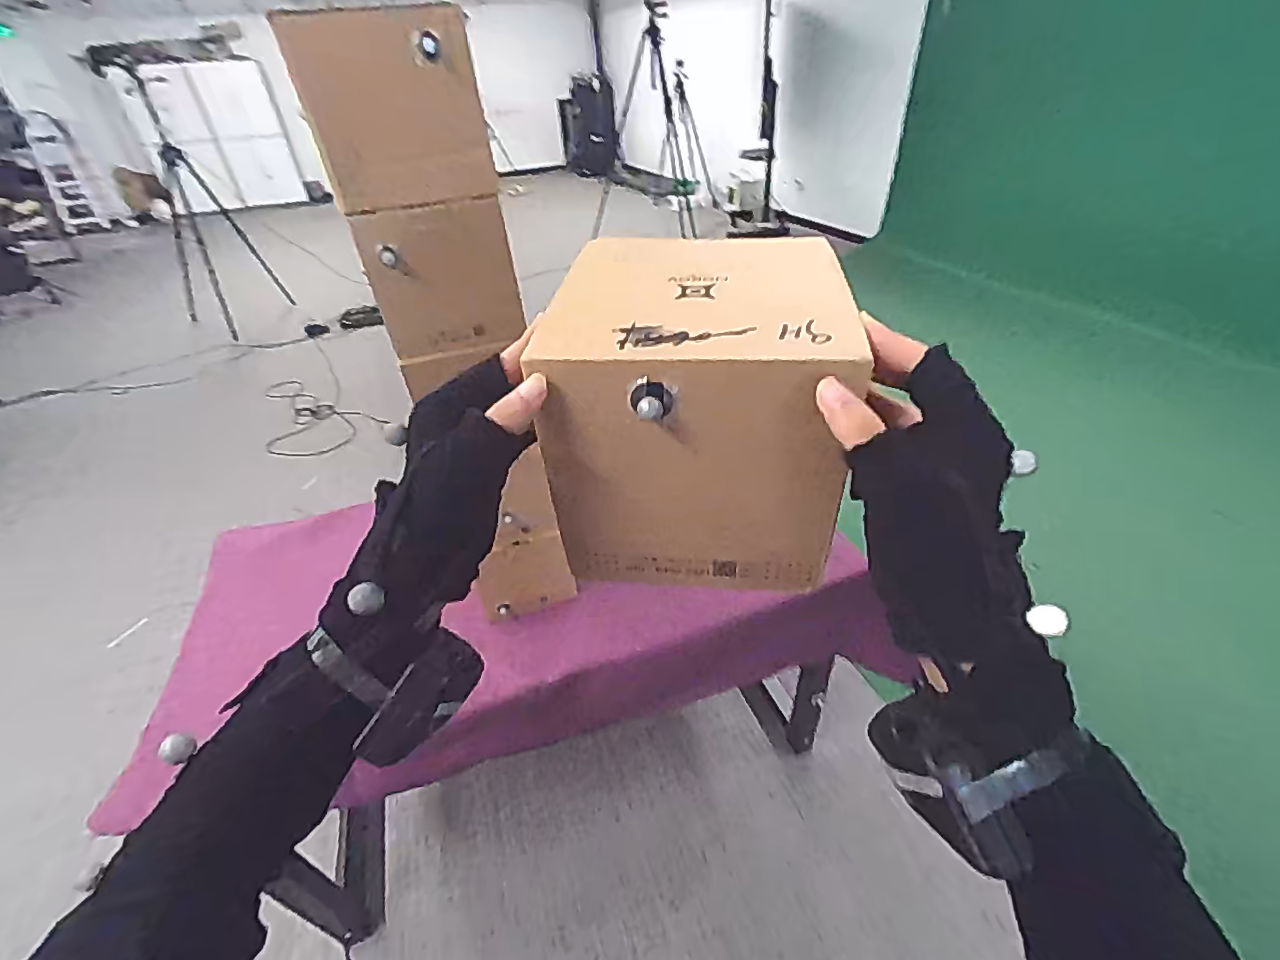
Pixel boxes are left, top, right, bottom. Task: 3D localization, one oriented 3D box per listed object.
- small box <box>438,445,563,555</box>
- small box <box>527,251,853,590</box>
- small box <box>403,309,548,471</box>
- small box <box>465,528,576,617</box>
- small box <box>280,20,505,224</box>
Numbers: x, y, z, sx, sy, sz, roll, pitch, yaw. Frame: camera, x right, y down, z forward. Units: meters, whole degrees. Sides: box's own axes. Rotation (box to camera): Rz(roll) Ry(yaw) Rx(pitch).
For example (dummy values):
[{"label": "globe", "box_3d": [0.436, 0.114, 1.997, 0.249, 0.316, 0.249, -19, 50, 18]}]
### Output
[{"label": "small box", "box_3d": [-0.234, -0.005, 0.904, 0.168, 0.176, 0.179, -14, 38, -13]}, {"label": "small box", "box_3d": [0.036, -0.048, 0.379, 0.168, 0.176, 0.179, 2, 39, 8]}, {"label": "small box", "box_3d": [-0.244, -0.138, 0.810, 0.168, 0.176, 0.179, -15, 38, -13]}, {"label": "small box", "box_3d": [-0.221, 0.130, 0.996, 0.168, 0.176, 0.179, -14, 37, -13]}, {"label": "small box", "box_3d": [-0.268, -0.402, 0.621, 0.179, 0.176, 0.168, -15, 37, -14]}]
